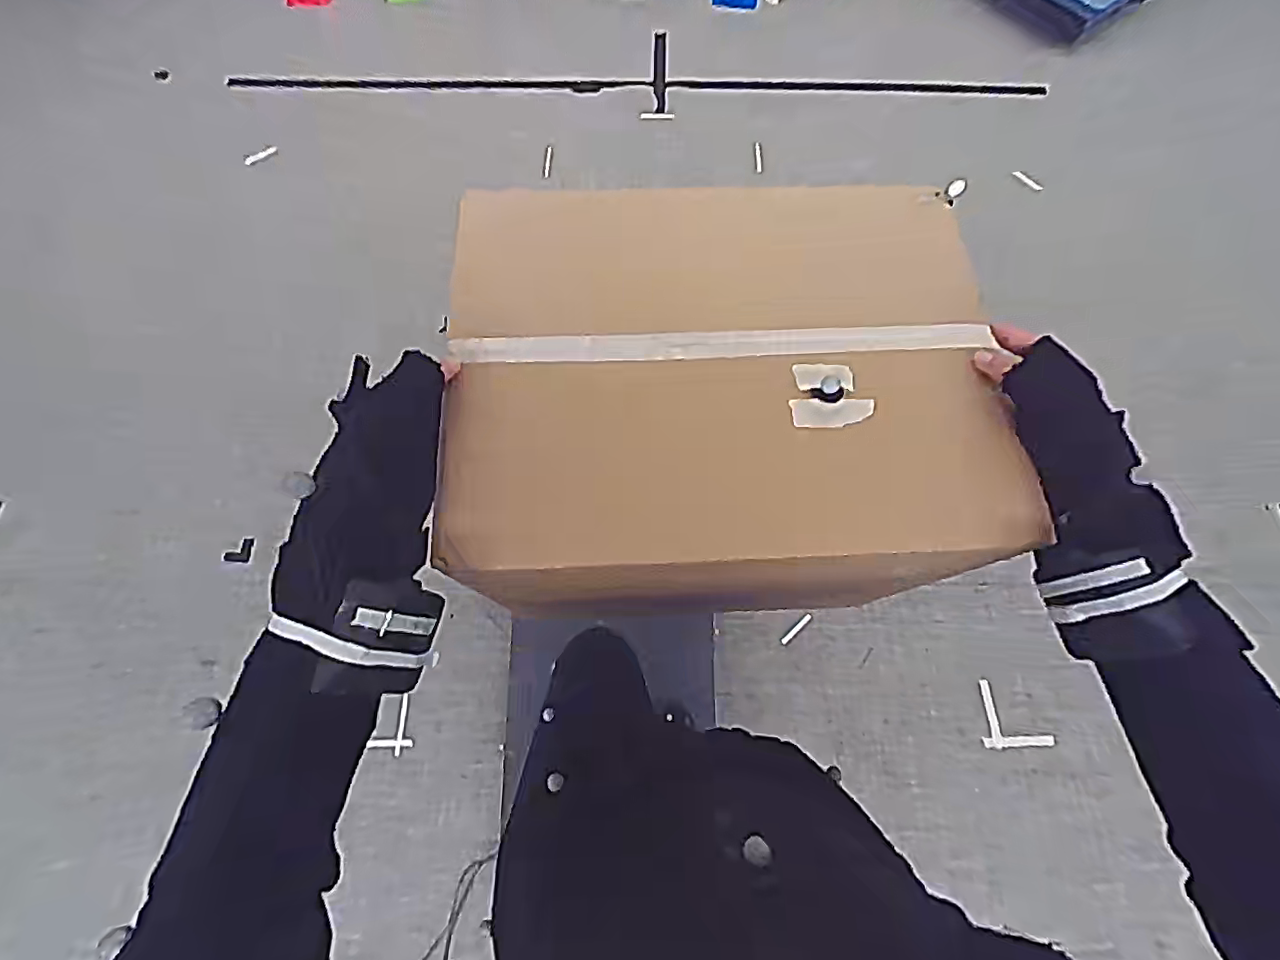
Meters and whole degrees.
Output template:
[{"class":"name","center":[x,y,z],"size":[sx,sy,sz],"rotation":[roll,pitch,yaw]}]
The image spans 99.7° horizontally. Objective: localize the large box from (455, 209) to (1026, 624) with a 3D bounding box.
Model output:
[{"class":"large box","center":[0.058,-0.036,0.557],"size":[0.408,0.320,0.320],"rotation":[-2,70,-3]}]
